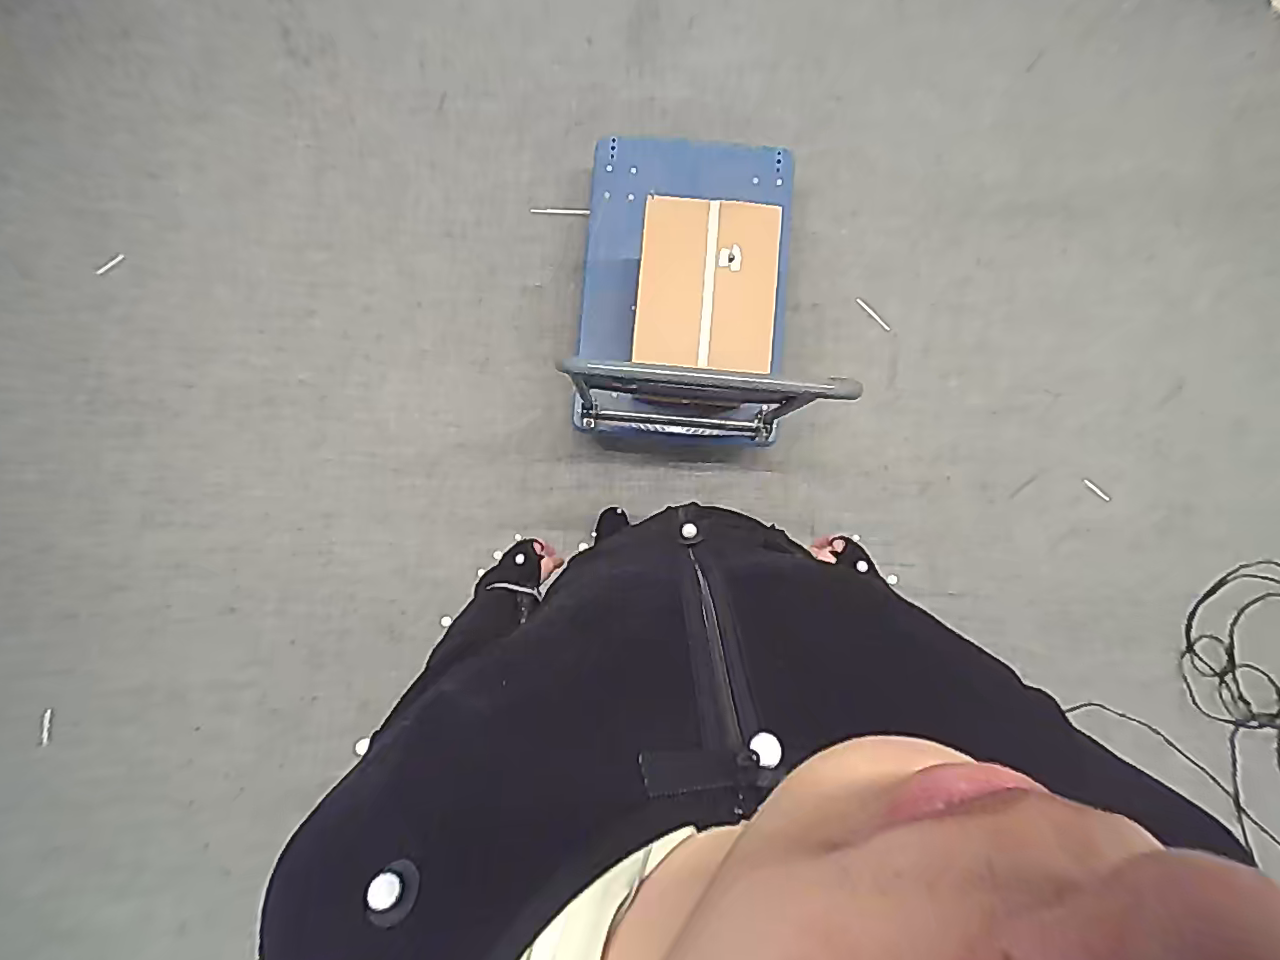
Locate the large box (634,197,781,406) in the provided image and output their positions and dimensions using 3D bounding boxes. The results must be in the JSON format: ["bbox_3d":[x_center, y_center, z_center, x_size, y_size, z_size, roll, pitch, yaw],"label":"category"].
[{"bbox_3d":[0.153,-0.419,1.354,0.320,0.320,0.408,5,85,-1],"label":"large box"}]
